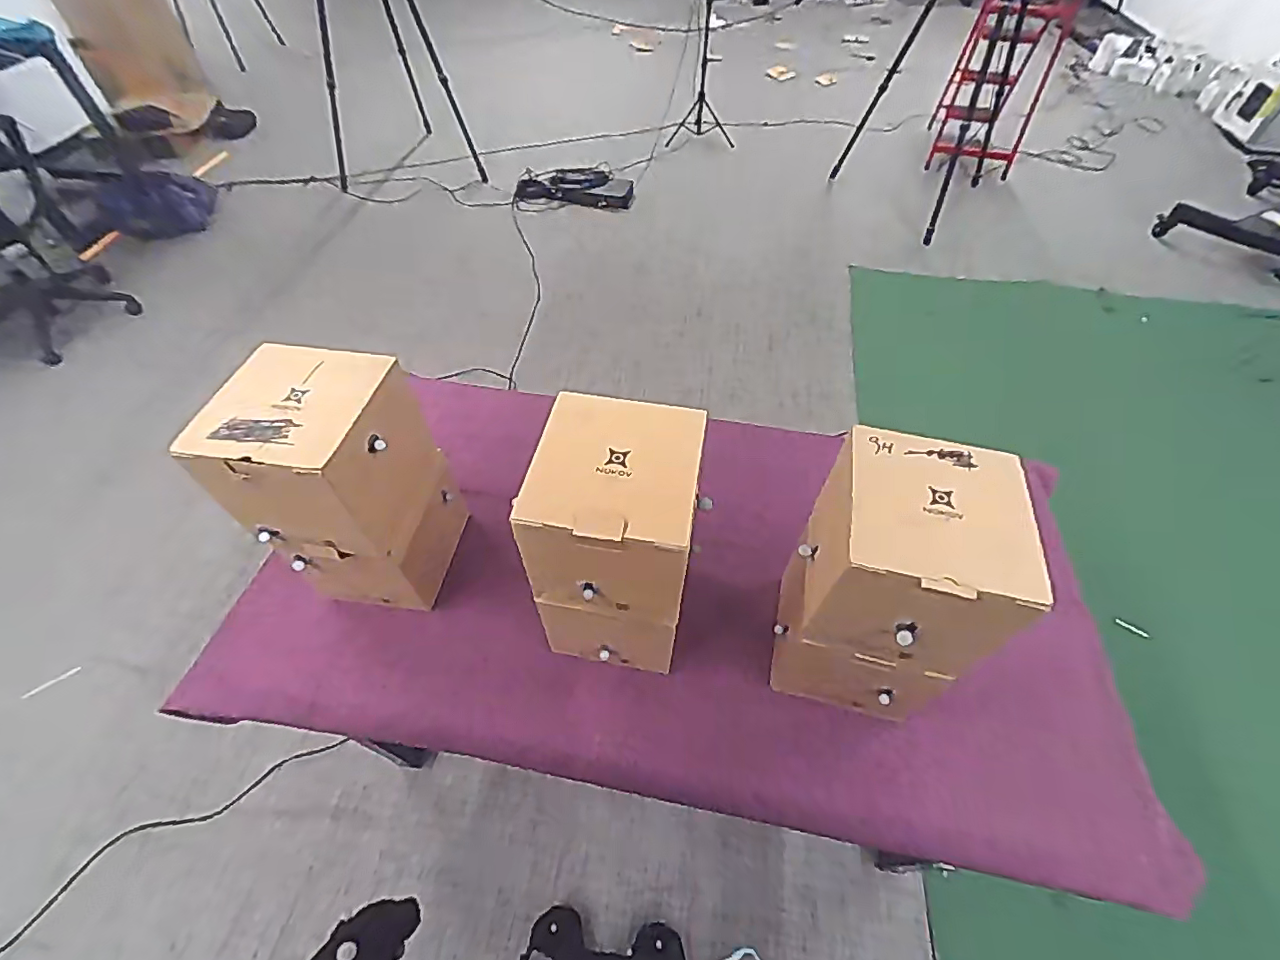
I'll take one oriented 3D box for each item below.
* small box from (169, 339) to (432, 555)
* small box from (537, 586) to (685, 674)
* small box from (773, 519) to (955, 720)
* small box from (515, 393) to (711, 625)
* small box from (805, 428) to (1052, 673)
[{"bbox_3d":[-0.368,-0.033,0.633,0.168,0.176,0.179,11,53,5],"label":"small box"},{"bbox_3d":[-0.024,0.134,0.721,0.168,0.176,0.179,9,53,7],"label":"small box"},{"bbox_3d":[0.273,0.182,0.688,0.168,0.176,0.179,13,52,9],"label":"small box"},{"bbox_3d":[-0.022,0.034,0.592,0.168,0.176,0.179,9,53,5],"label":"small box"},{"bbox_3d":[0.277,0.077,0.561,0.168,0.176,0.179,13,54,8],"label":"small box"}]
